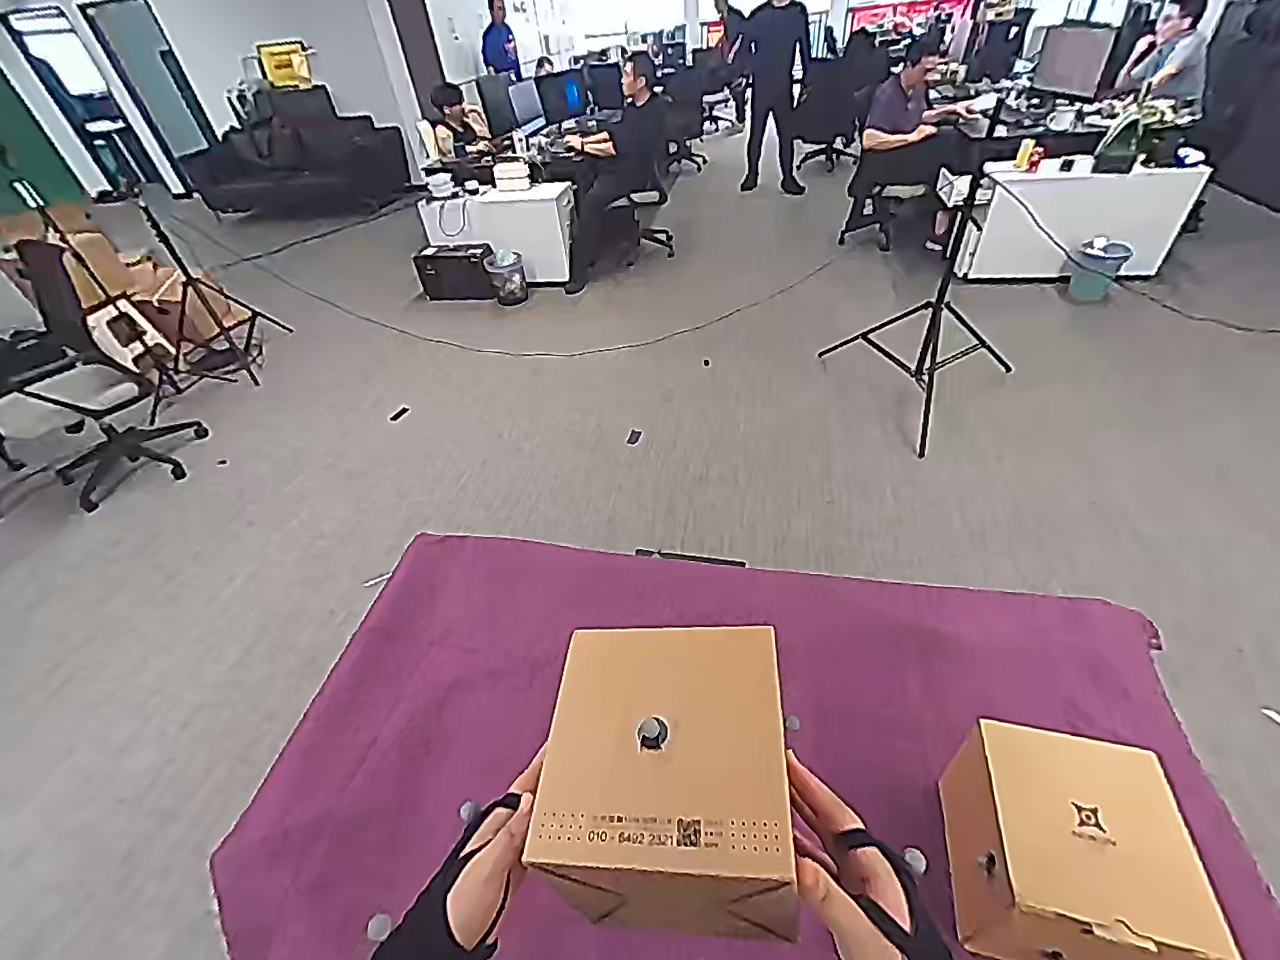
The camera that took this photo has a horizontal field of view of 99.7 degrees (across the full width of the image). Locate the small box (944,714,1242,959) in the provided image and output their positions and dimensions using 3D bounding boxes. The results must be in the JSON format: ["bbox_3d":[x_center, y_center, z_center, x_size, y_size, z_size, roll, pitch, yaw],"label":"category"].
[{"bbox_3d":[0.440,0.385,0.570,0.168,0.176,0.179,6,41,15],"label":"small box"}]

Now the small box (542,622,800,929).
[{"bbox_3d":[0.034,0.234,0.429,0.168,0.179,0.176,-4,42,13],"label":"small box"}]
